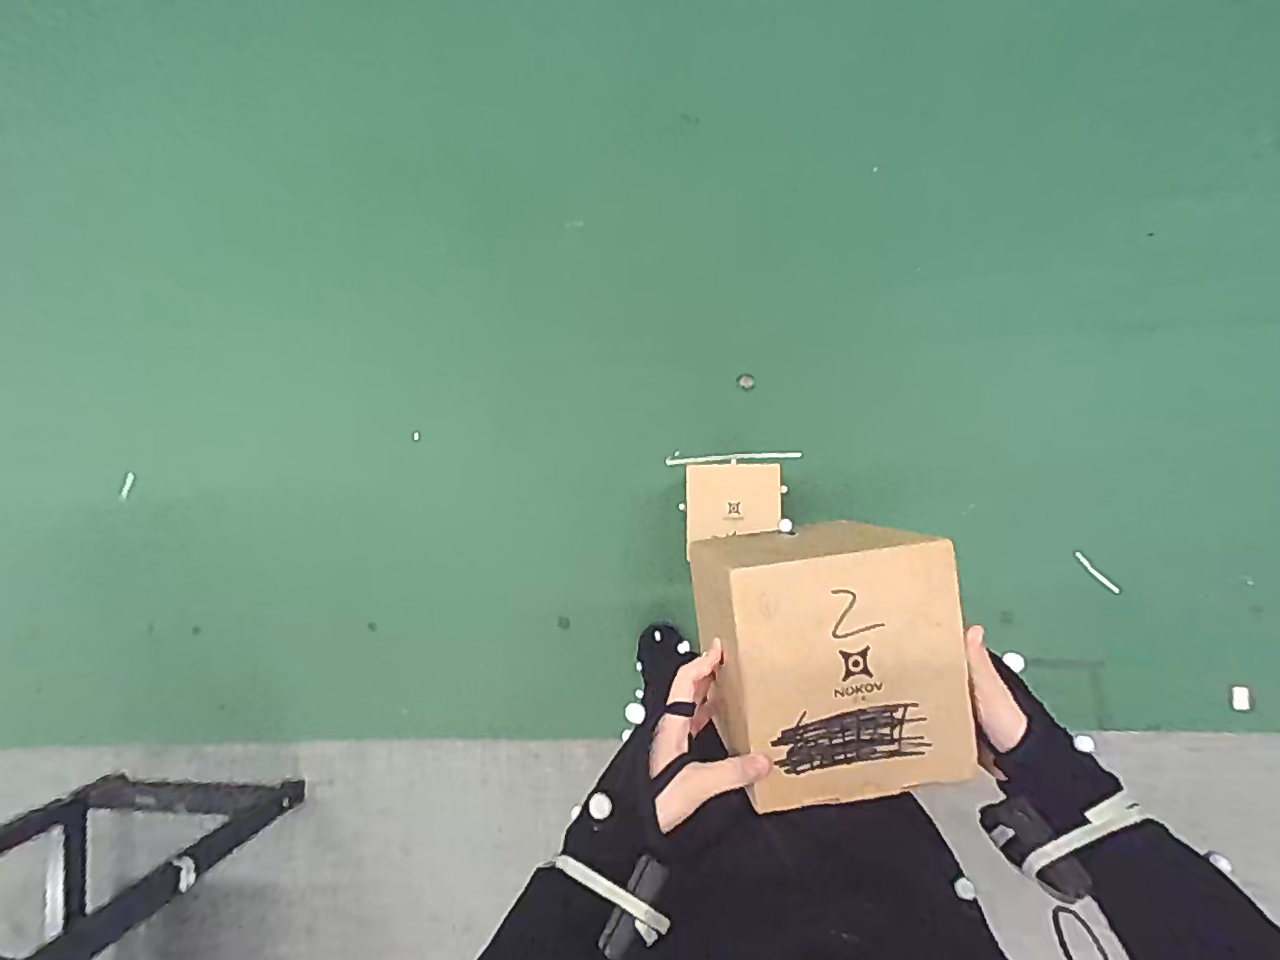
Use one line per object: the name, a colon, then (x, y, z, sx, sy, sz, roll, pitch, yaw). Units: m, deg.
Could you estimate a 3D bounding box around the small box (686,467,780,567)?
small box: (0.172, 0.068, 1.031, 0.168, 0.176, 0.179, 0, 88, 7)
